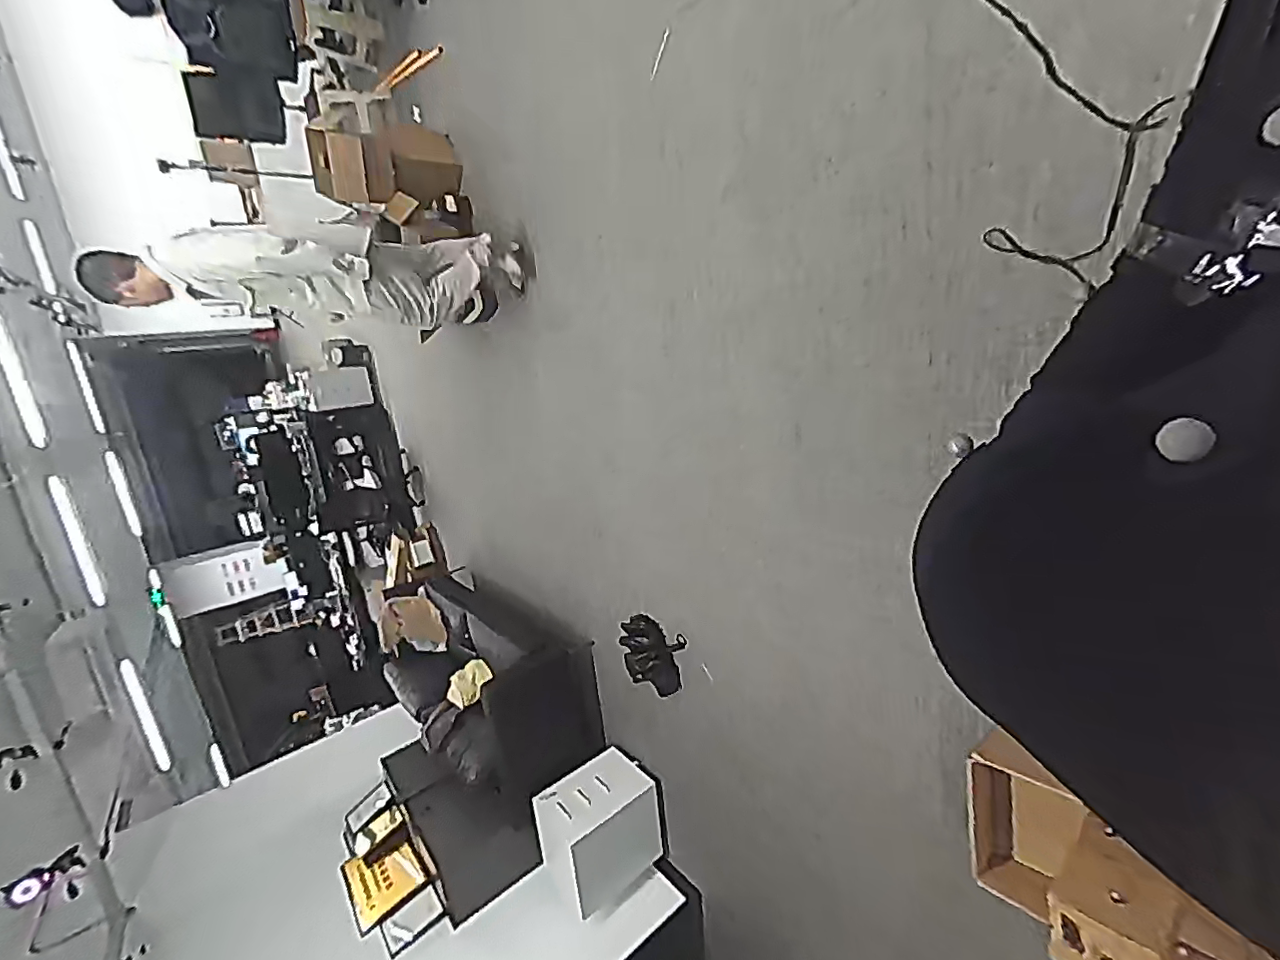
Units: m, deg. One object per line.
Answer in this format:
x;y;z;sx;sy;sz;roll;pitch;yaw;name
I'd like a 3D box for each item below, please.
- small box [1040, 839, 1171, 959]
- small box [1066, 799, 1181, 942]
0.969;0.900;1.130;0.179;0.176;0.168;6;110;52;small box
1.085;0.869;1.216;0.168;0.176;0.179;5;109;53;small box
